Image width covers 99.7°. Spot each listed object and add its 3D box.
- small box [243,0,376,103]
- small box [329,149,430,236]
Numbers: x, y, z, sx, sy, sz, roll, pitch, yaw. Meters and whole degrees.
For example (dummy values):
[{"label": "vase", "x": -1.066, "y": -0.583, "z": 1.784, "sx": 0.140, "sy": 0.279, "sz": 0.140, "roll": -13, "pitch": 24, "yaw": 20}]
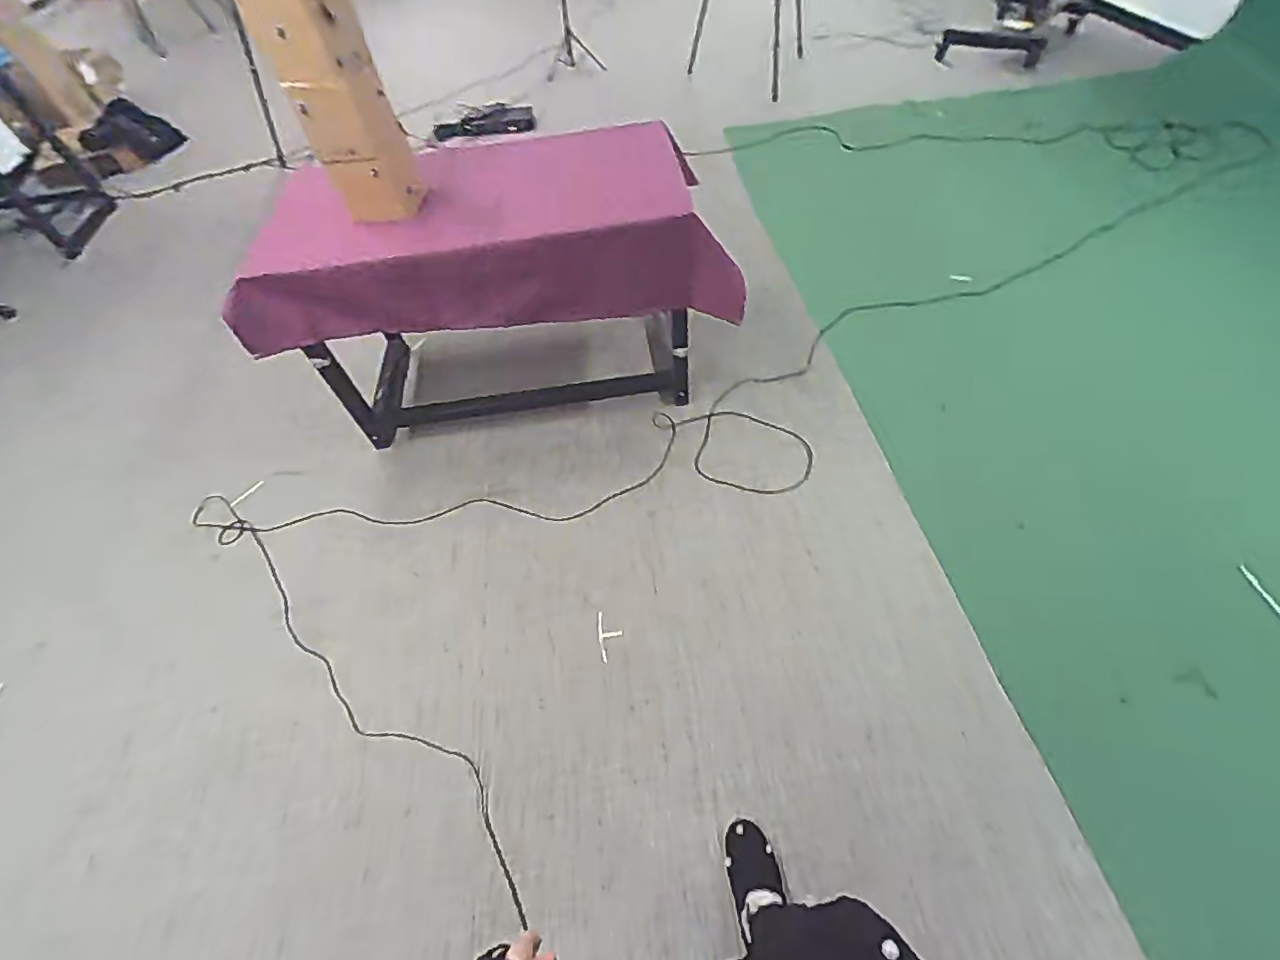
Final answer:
[{"label": "small box", "x": -0.771, "y": -1.021, "z": 1.285, "sx": 0.179, "sy": 0.176, "sz": 0.168, "roll": 6, "pitch": 53, "yaw": 11}, {"label": "small box", "x": -0.730, "y": -0.812, "z": 1.537, "sx": 0.179, "sy": 0.176, "sz": 0.168, "roll": 1, "pitch": 53, "yaw": 6}]
